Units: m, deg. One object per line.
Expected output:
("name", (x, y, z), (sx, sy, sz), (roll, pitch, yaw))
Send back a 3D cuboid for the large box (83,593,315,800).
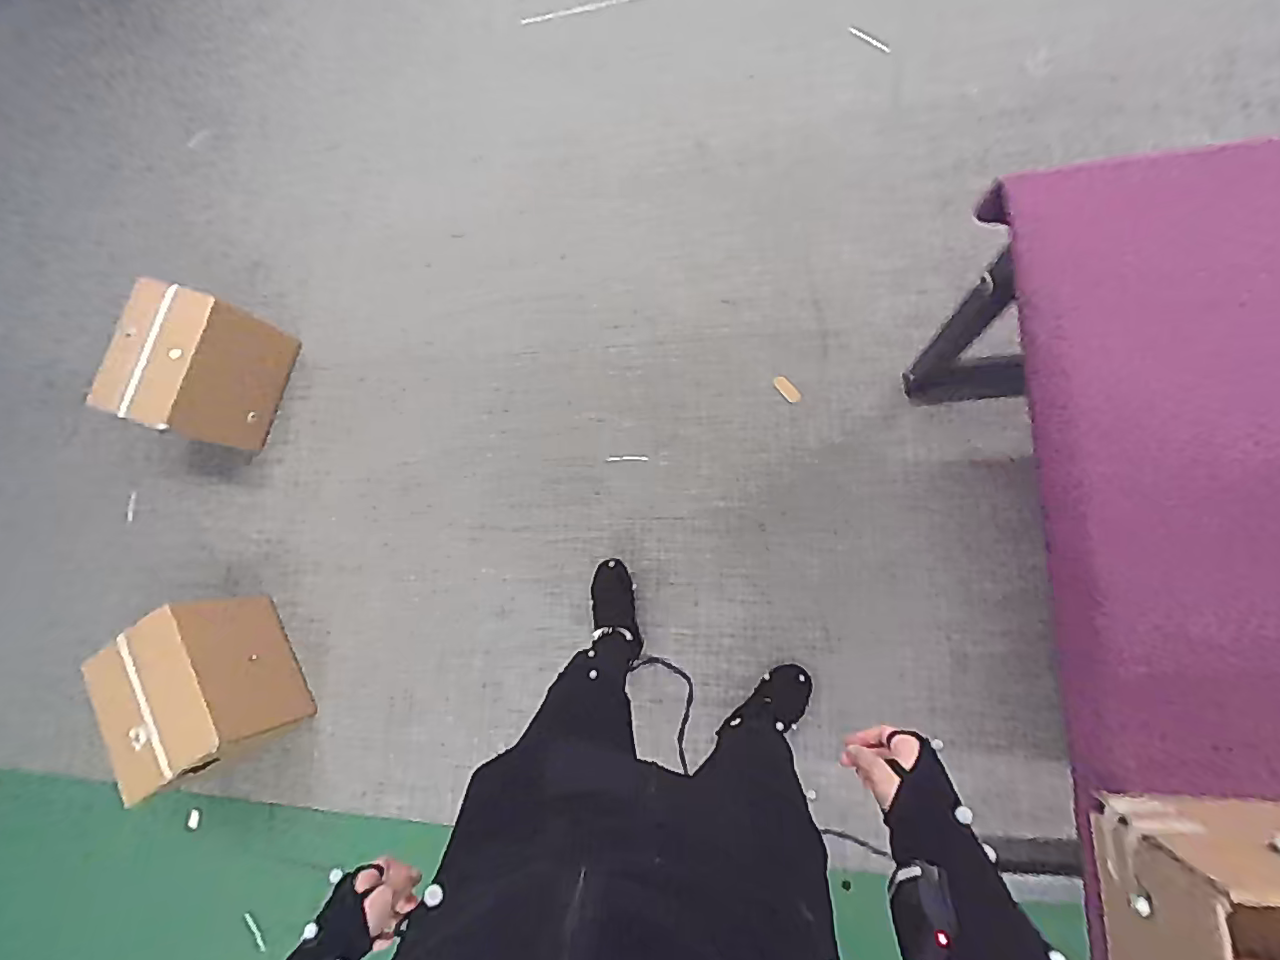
("large box", (-1.213, 0.572, 1.514), (0.320, 0.320, 0.408), (-34, 77, 6))
